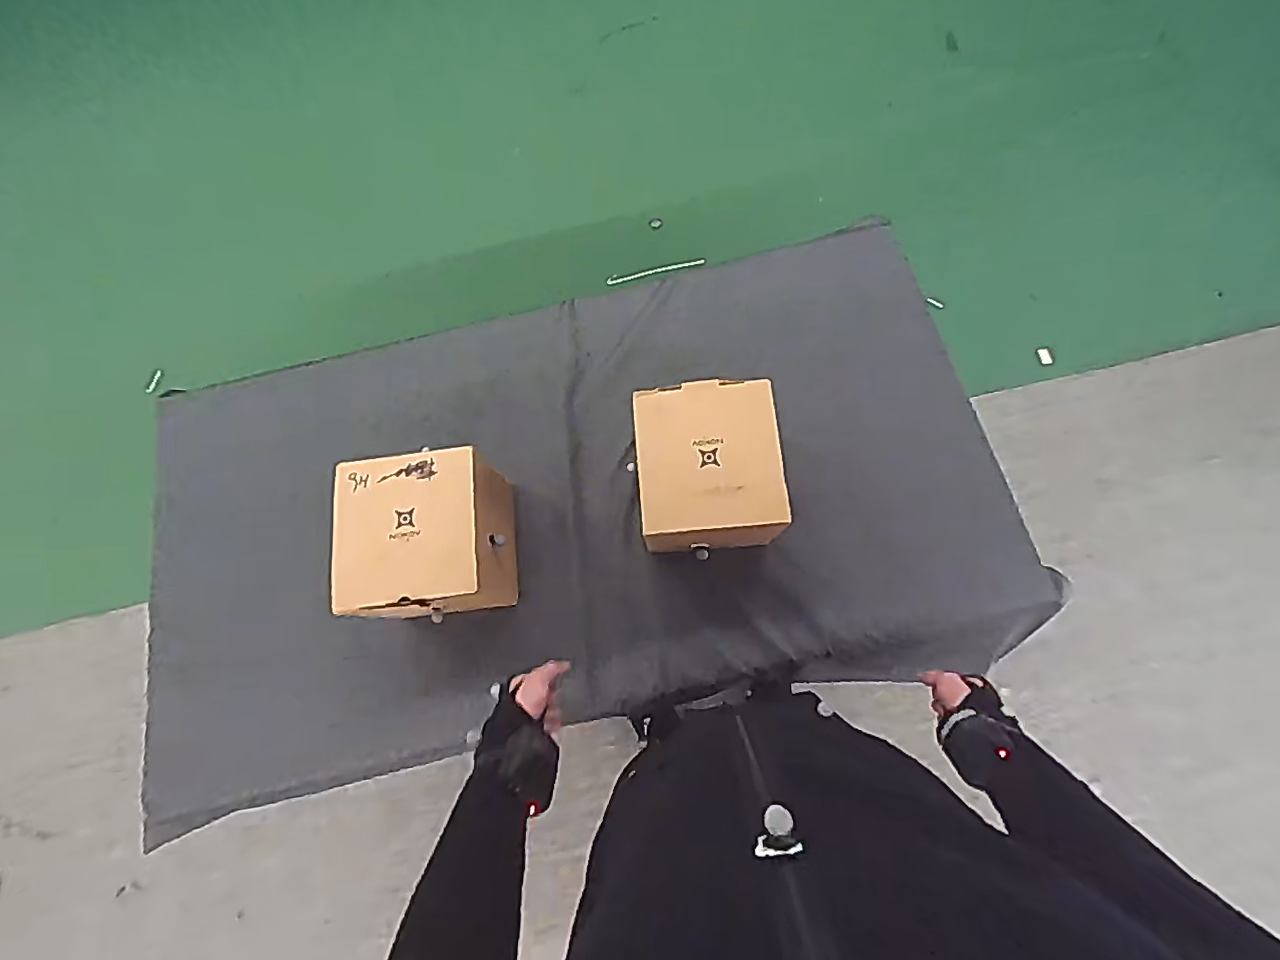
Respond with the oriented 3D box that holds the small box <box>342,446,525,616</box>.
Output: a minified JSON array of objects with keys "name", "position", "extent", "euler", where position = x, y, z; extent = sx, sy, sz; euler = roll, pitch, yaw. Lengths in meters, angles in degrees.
[{"name":"small box","position":[-0.255,0.076,0.697],"extent":[0.168,0.176,0.179],"euler":[-11,73,2]}]

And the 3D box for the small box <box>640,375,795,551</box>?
[{"name":"small box","position":[0.088,-0.012,0.680],"extent":[0.168,0.176,0.179],"euler":[-4,74,5]}]
